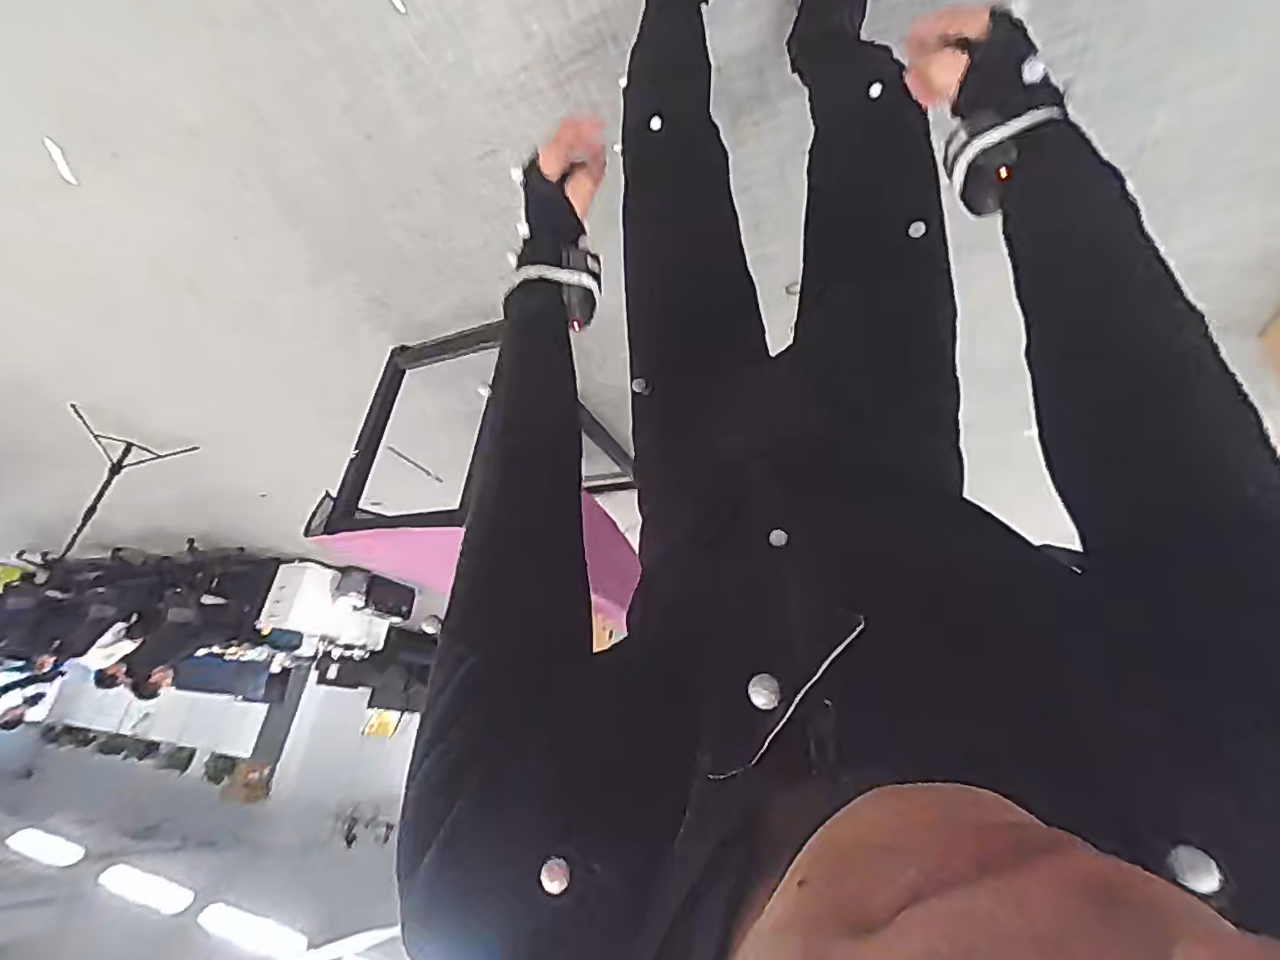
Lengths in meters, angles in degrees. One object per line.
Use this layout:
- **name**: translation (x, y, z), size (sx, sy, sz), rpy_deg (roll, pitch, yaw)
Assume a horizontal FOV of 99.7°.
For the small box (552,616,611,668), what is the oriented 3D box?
- **small box**: translation (-0.227, 0.639, 2.139), size (0.179, 0.176, 0.168), rpy_deg (-2, 153, 15)
